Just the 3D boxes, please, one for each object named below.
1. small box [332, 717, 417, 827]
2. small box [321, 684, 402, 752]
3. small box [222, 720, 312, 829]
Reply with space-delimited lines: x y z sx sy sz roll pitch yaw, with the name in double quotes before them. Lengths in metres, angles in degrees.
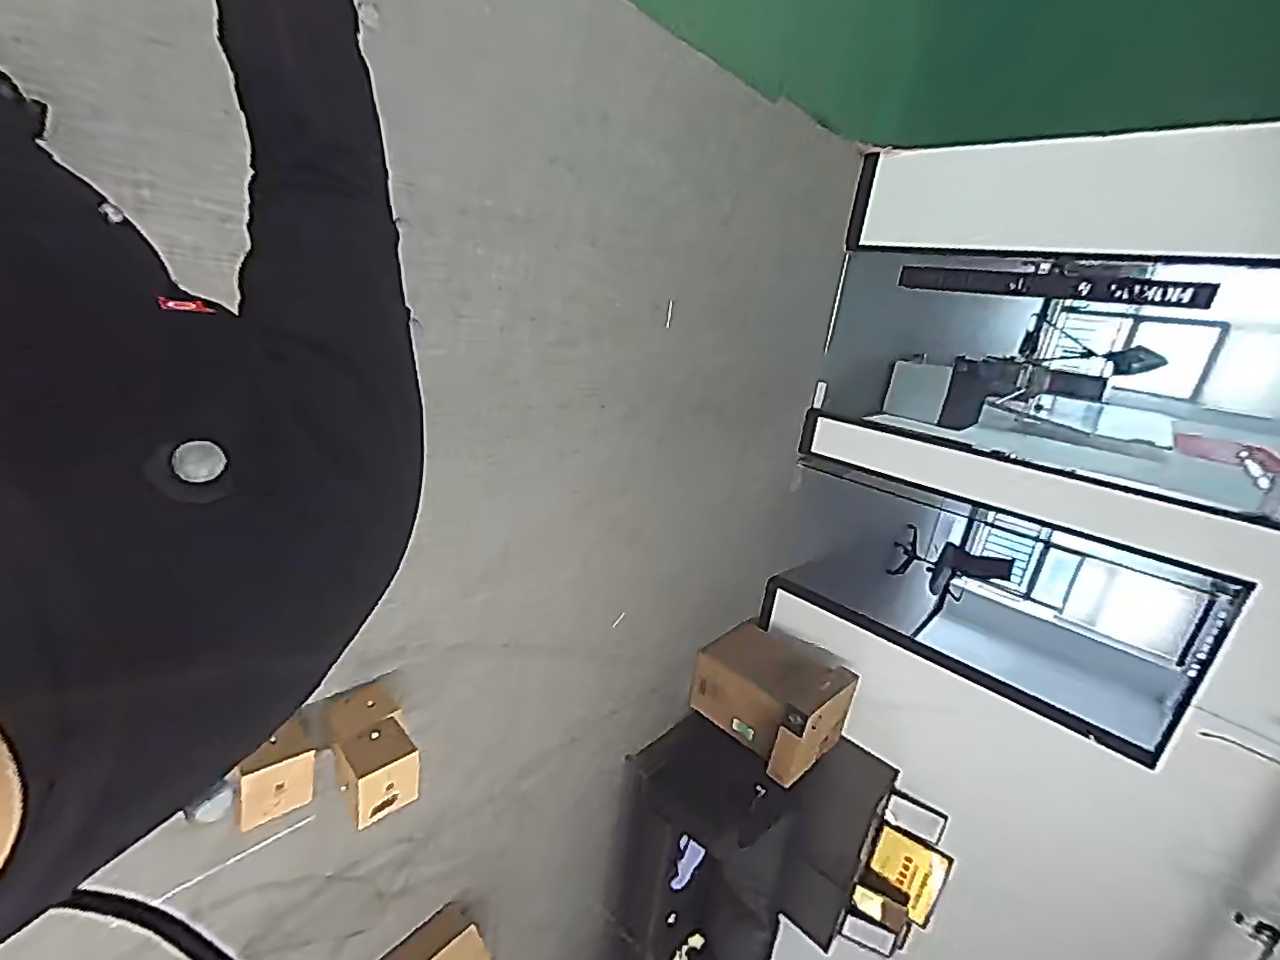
"small box" -0.751 0.815 1.526 0.168 0.176 0.179 -10 115 -47
"small box" -0.848 0.754 1.649 0.168 0.176 0.179 -19 122 -44
"small box" -1.013 0.782 1.466 0.168 0.176 0.179 -4 111 -48
